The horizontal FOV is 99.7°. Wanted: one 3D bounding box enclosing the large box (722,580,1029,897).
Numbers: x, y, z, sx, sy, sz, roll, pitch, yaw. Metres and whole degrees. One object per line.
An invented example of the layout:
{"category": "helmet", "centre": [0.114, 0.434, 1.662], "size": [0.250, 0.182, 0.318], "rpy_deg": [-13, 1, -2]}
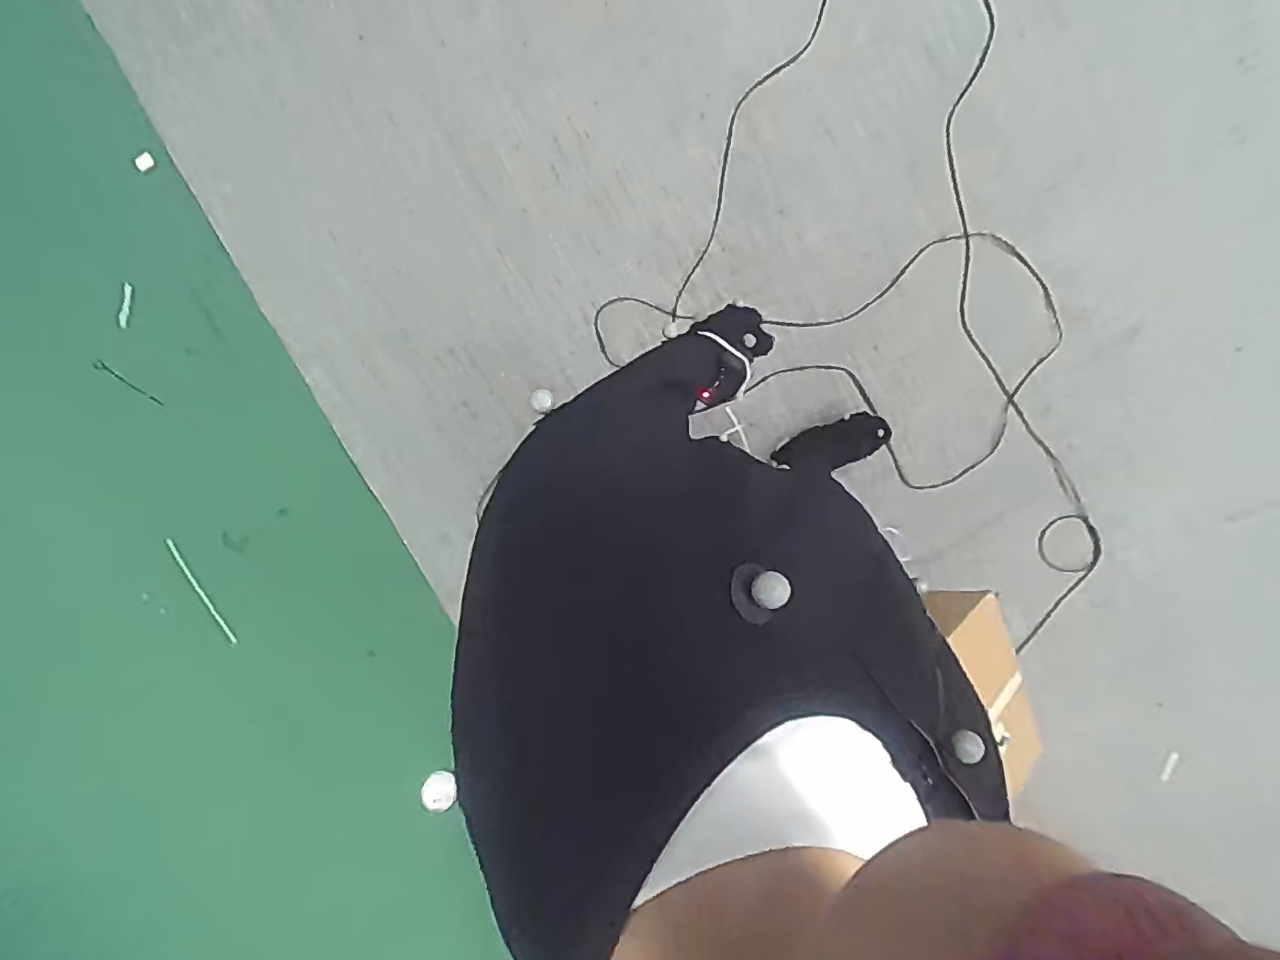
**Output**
{"category": "large box", "centre": [0.422, 0.404, 0.975], "size": [0.408, 0.320, 0.320], "rpy_deg": [-21, 95, -36]}
